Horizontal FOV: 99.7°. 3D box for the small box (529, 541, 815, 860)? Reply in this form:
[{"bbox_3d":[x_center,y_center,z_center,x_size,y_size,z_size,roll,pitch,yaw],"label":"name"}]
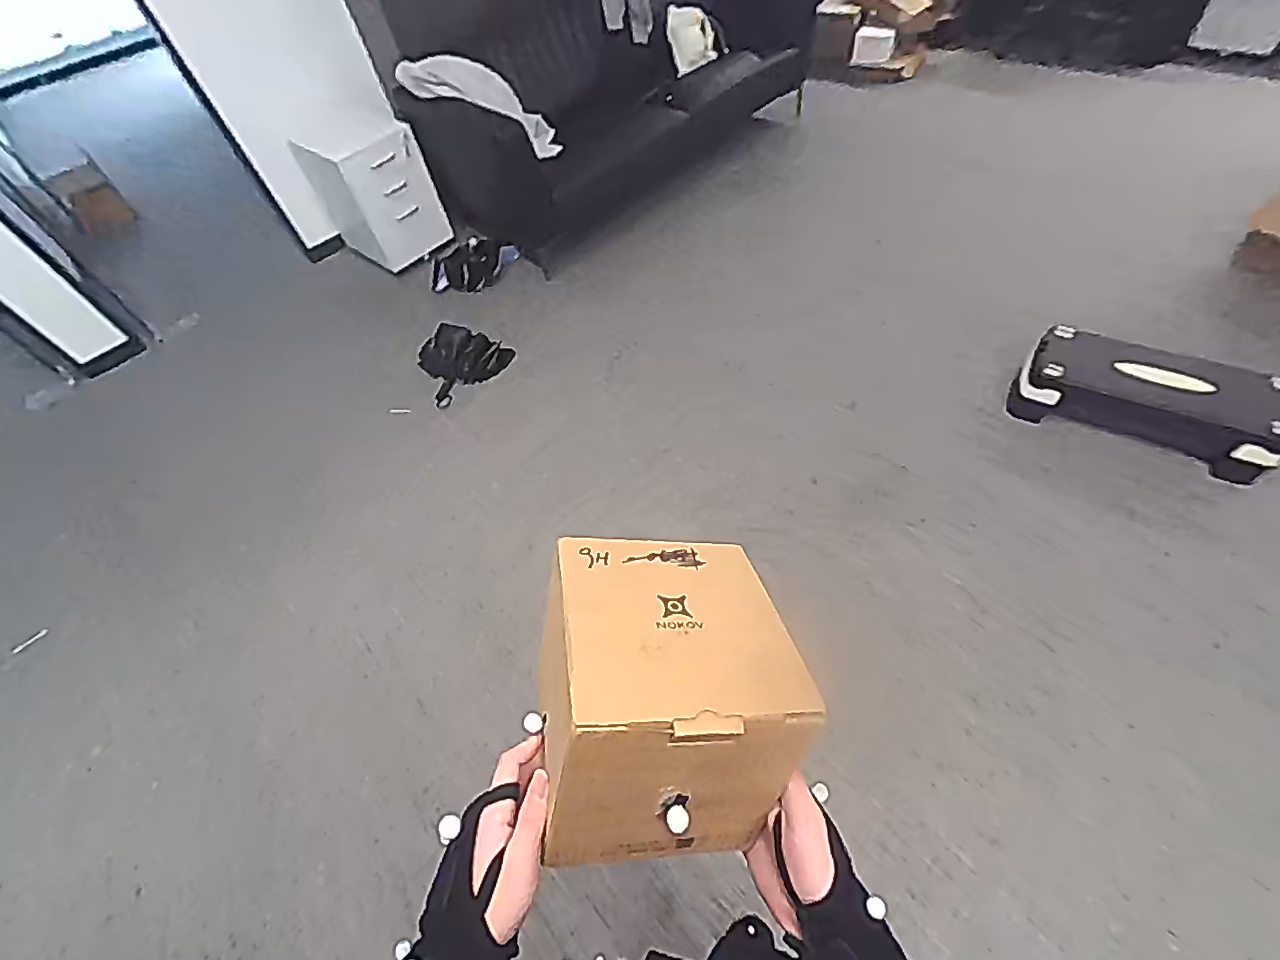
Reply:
[{"bbox_3d":[0.004,0.171,0.428,0.168,0.176,0.179,5,32,-14],"label":"small box"}]
